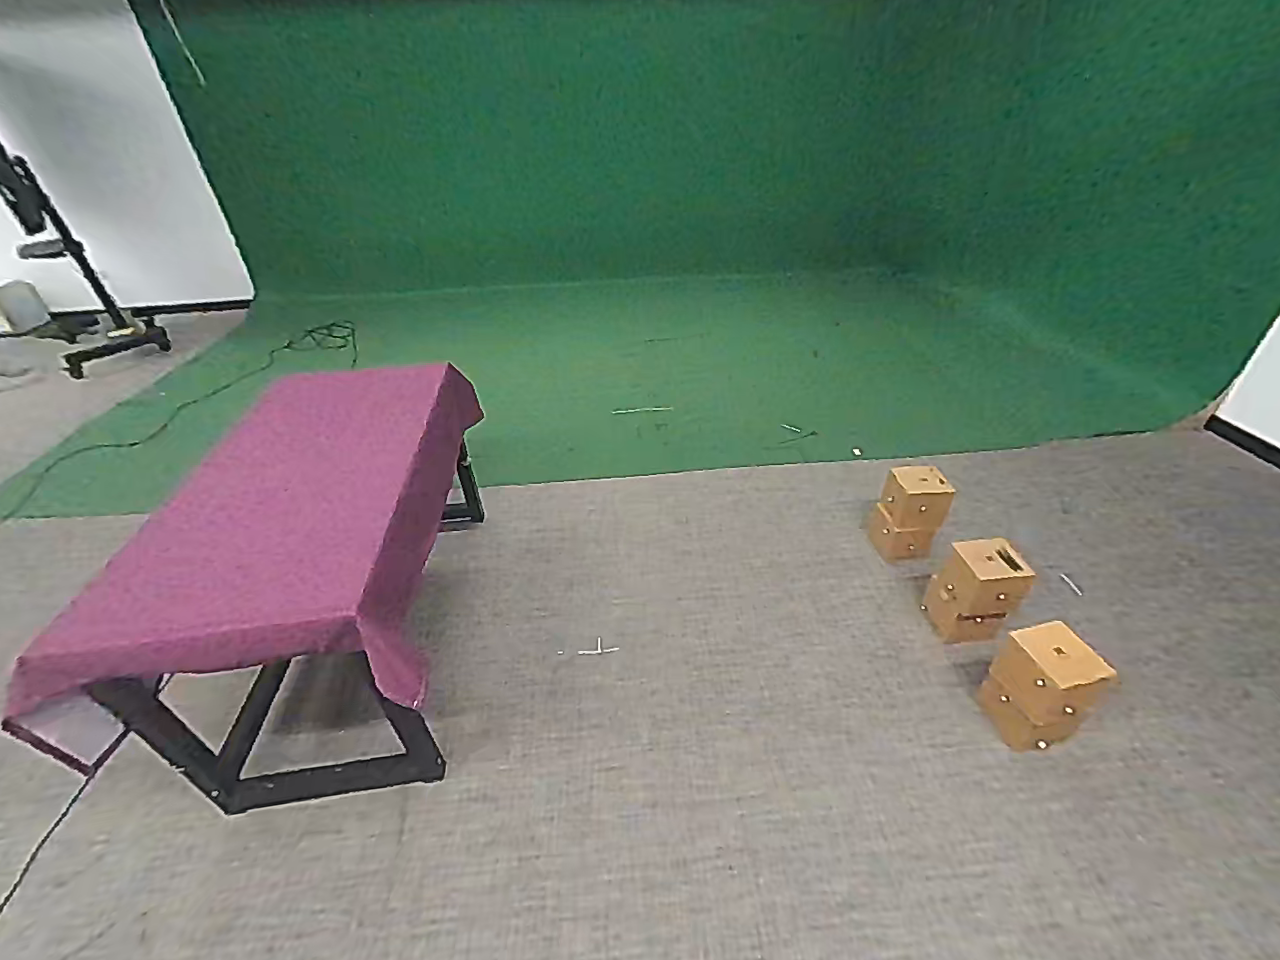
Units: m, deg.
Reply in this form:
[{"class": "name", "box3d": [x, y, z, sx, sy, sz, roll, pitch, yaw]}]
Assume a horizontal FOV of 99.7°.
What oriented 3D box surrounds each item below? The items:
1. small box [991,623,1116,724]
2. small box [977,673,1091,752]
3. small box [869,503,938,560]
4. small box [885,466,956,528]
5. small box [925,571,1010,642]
[{"class": "small box", "box3d": [1.081, 0.512, 1.435, 0.168, 0.176, 0.179, -10, 38, -8]}, {"class": "small box", "box3d": [1.104, 0.639, 1.535, 0.168, 0.176, 0.179, -7, 37, -4]}, {"class": "small box", "box3d": [1.032, 0.201, 2.130, 0.168, 0.176, 0.179, -5, 37, -3]}, {"class": "small box", "box3d": [1.043, 0.067, 2.035, 0.179, 0.176, 0.168, -3, 37, 1]}, {"class": "small box", "box3d": [1.087, 0.429, 1.819, 0.179, 0.176, 0.168, -4, 37, -3]}]
